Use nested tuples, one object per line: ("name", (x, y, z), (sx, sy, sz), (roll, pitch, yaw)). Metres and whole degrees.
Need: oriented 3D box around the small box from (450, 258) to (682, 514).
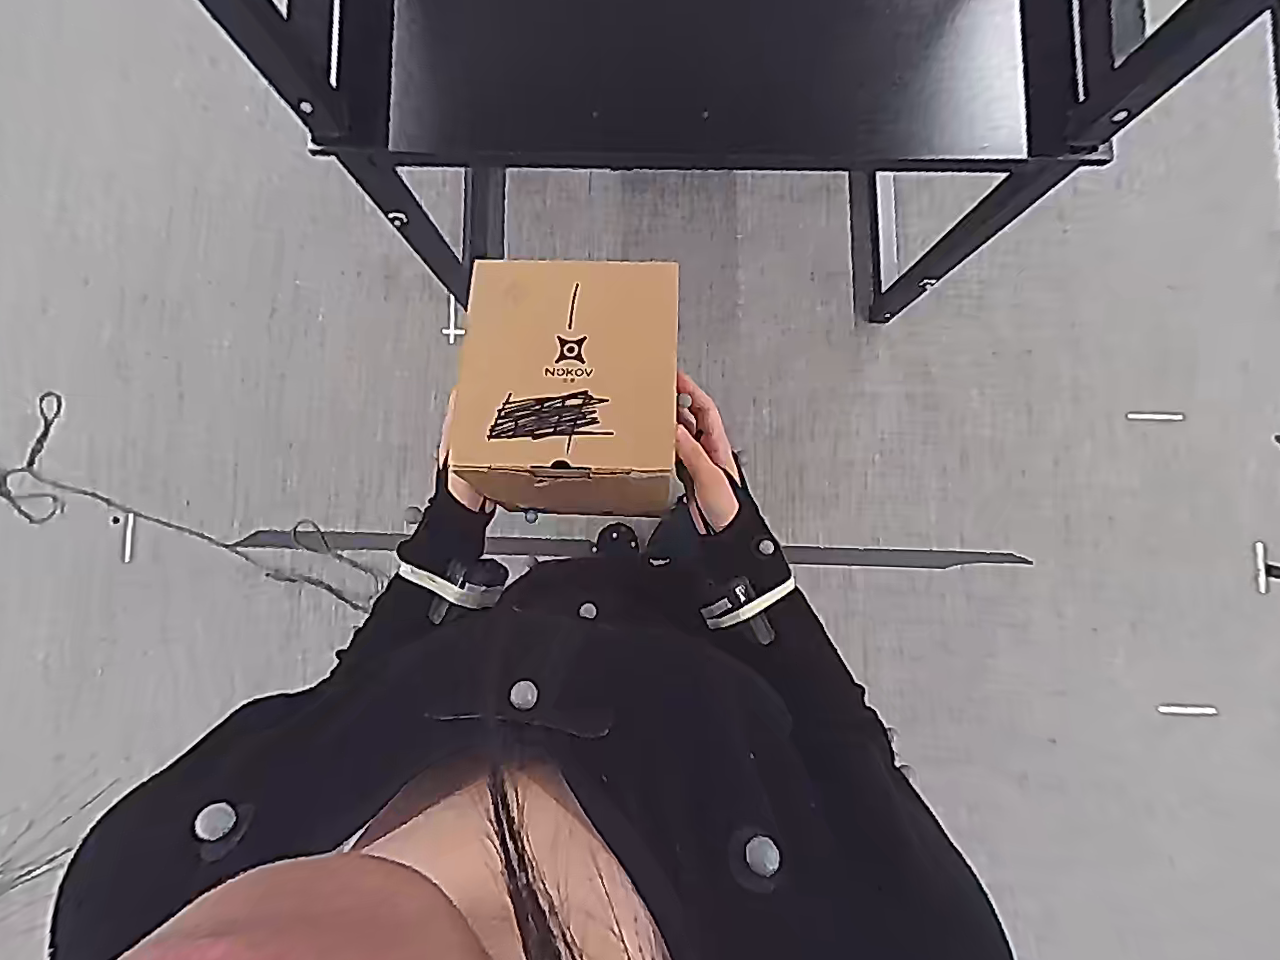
("small box", (-0.050, -0.069, 0.483), (0.168, 0.176, 0.179), (2, 74, 2))
